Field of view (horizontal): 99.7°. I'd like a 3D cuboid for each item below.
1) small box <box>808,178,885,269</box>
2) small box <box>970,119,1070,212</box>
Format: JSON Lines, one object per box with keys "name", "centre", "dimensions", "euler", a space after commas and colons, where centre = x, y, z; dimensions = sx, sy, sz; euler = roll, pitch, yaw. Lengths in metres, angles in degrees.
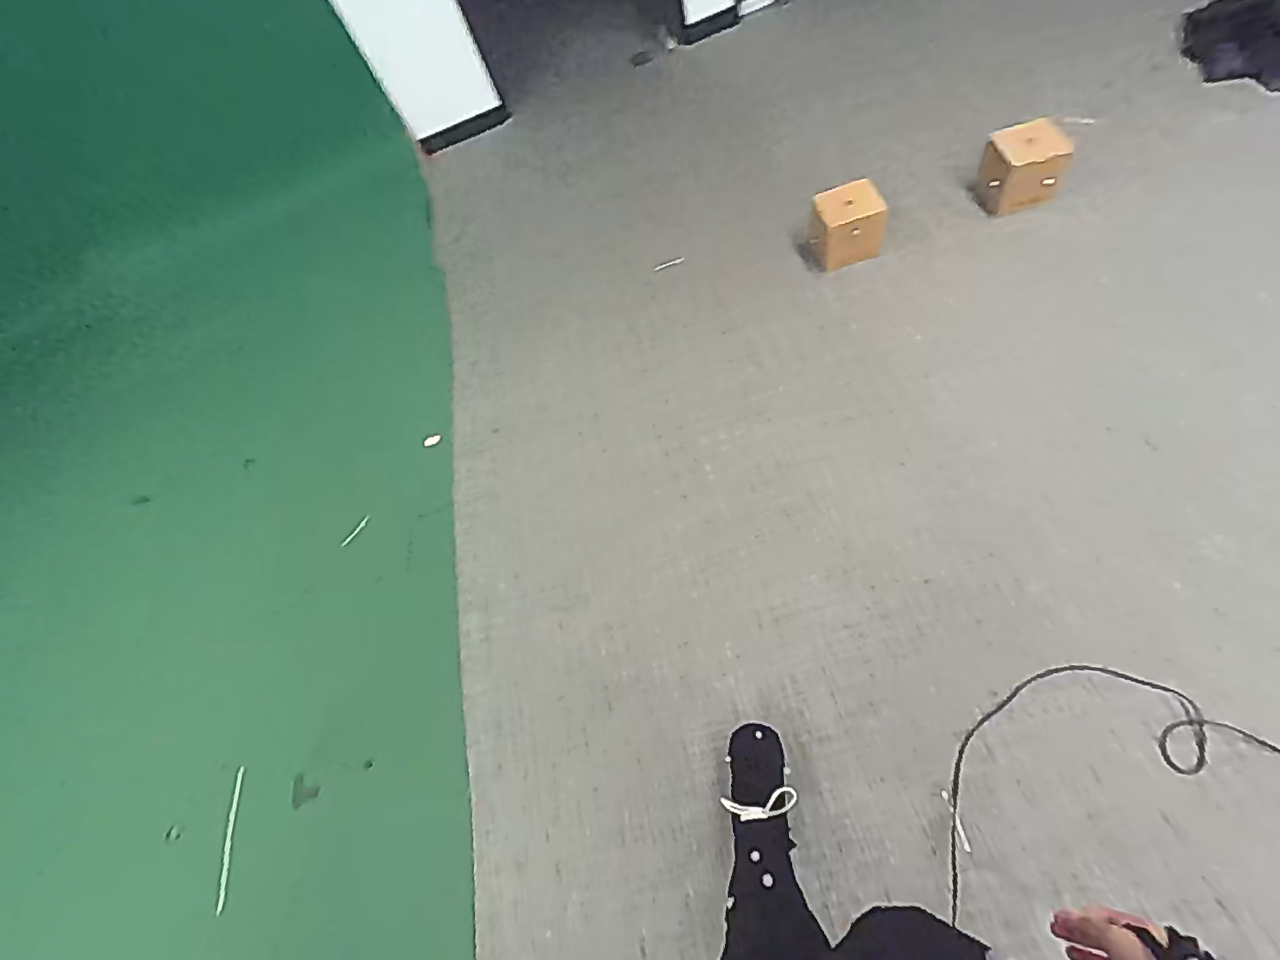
{"name": "small box", "centre": [0.641, -0.802, 1.703], "dimensions": [0.179, 0.176, 0.168], "euler": [-16, 60, 7]}
{"name": "small box", "centre": [1.141, -0.943, 1.639], "dimensions": [0.168, 0.176, 0.179], "euler": [-12, 59, 8]}
